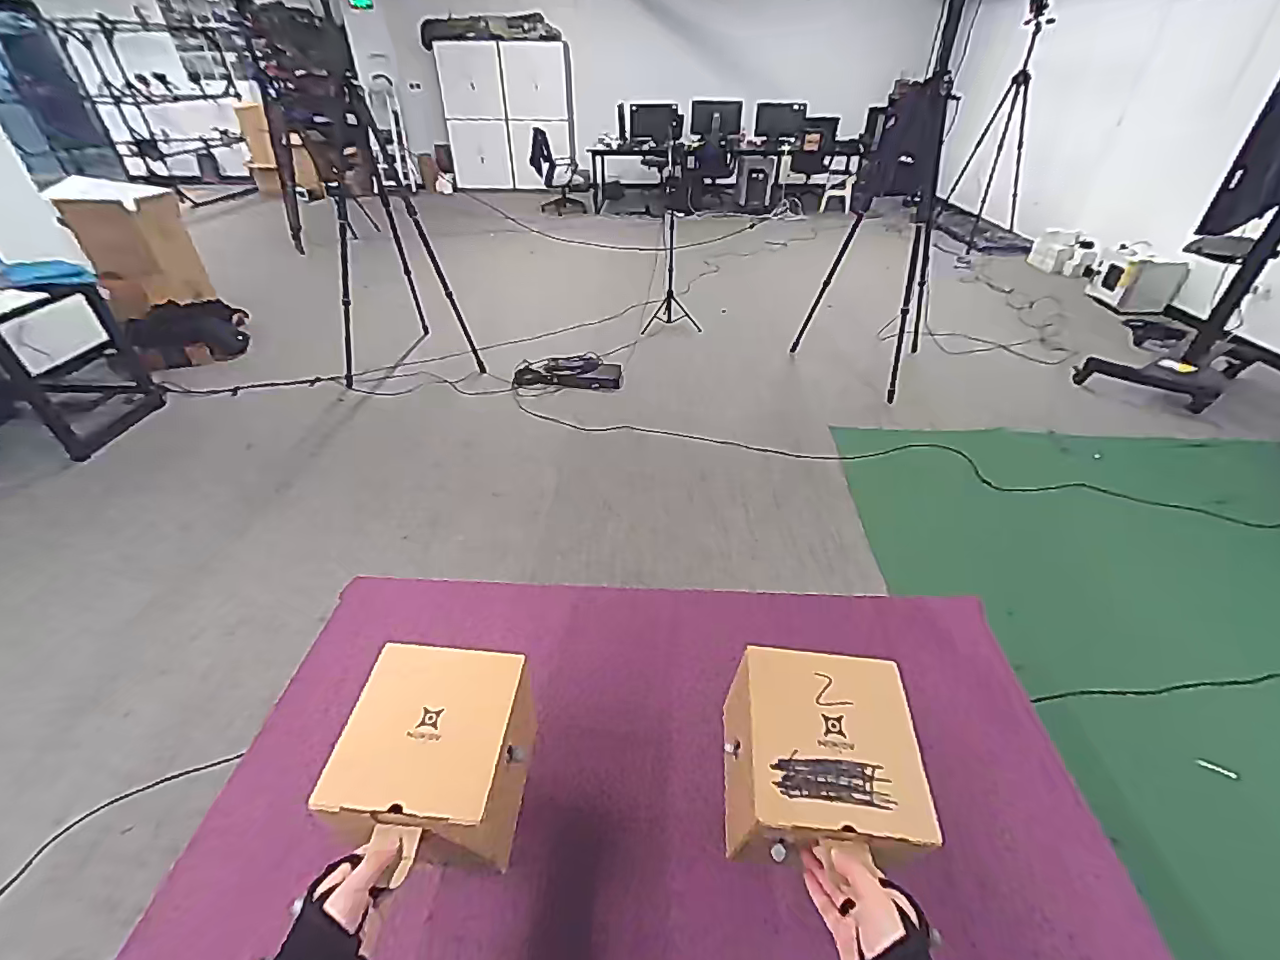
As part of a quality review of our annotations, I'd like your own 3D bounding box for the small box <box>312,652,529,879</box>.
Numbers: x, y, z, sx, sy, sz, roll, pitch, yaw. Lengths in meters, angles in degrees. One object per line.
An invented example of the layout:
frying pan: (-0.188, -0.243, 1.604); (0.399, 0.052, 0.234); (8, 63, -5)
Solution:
small box: (-0.229, 0.326, 0.623); (0.168, 0.176, 0.179); (4, 41, 1)
